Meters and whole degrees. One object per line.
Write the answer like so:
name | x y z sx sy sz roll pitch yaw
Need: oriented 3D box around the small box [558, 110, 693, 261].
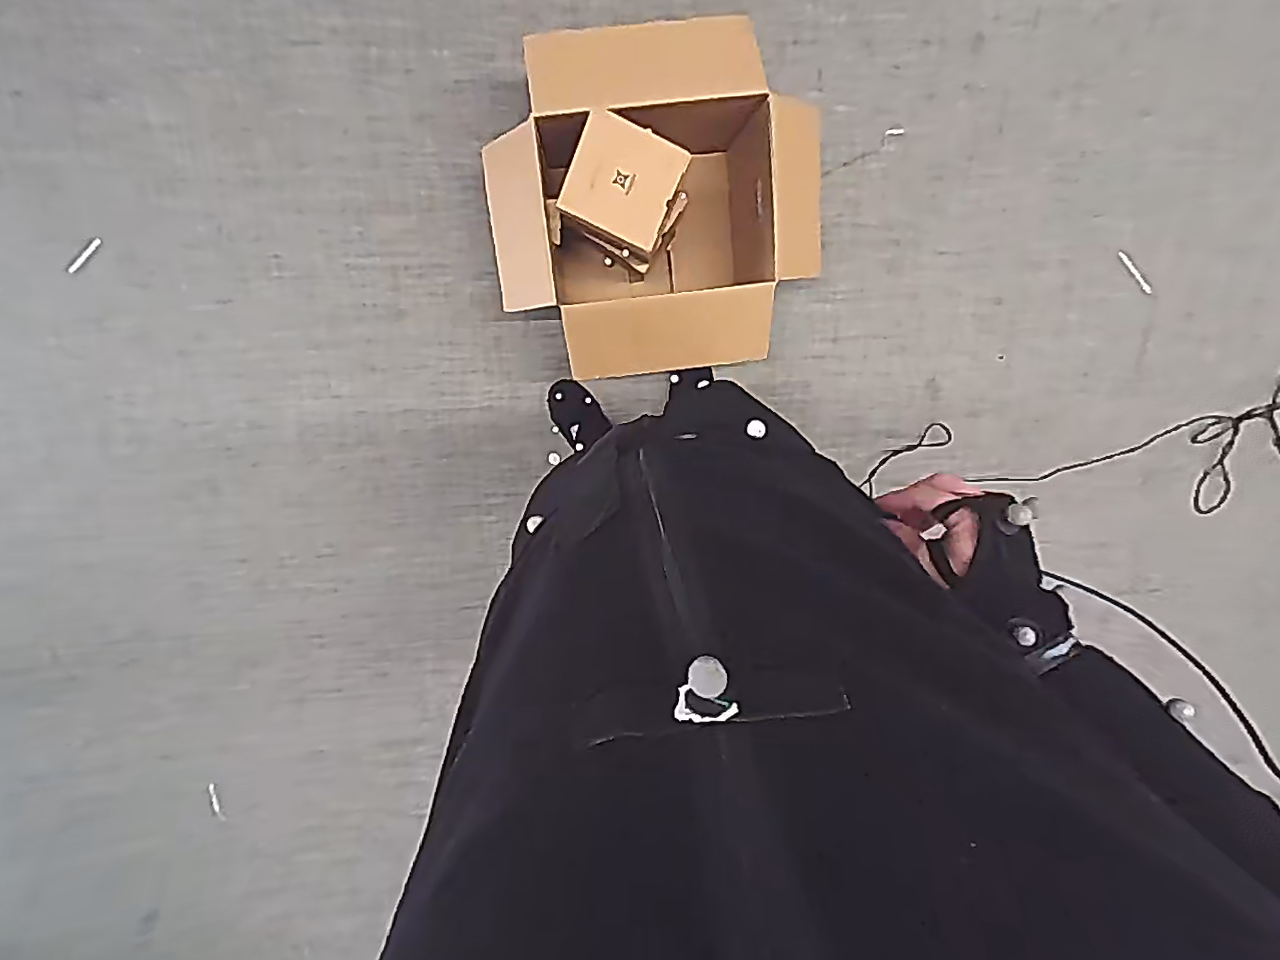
small box | -0.024 -0.508 0.965 0.179 0.176 0.168 24 104 -6
